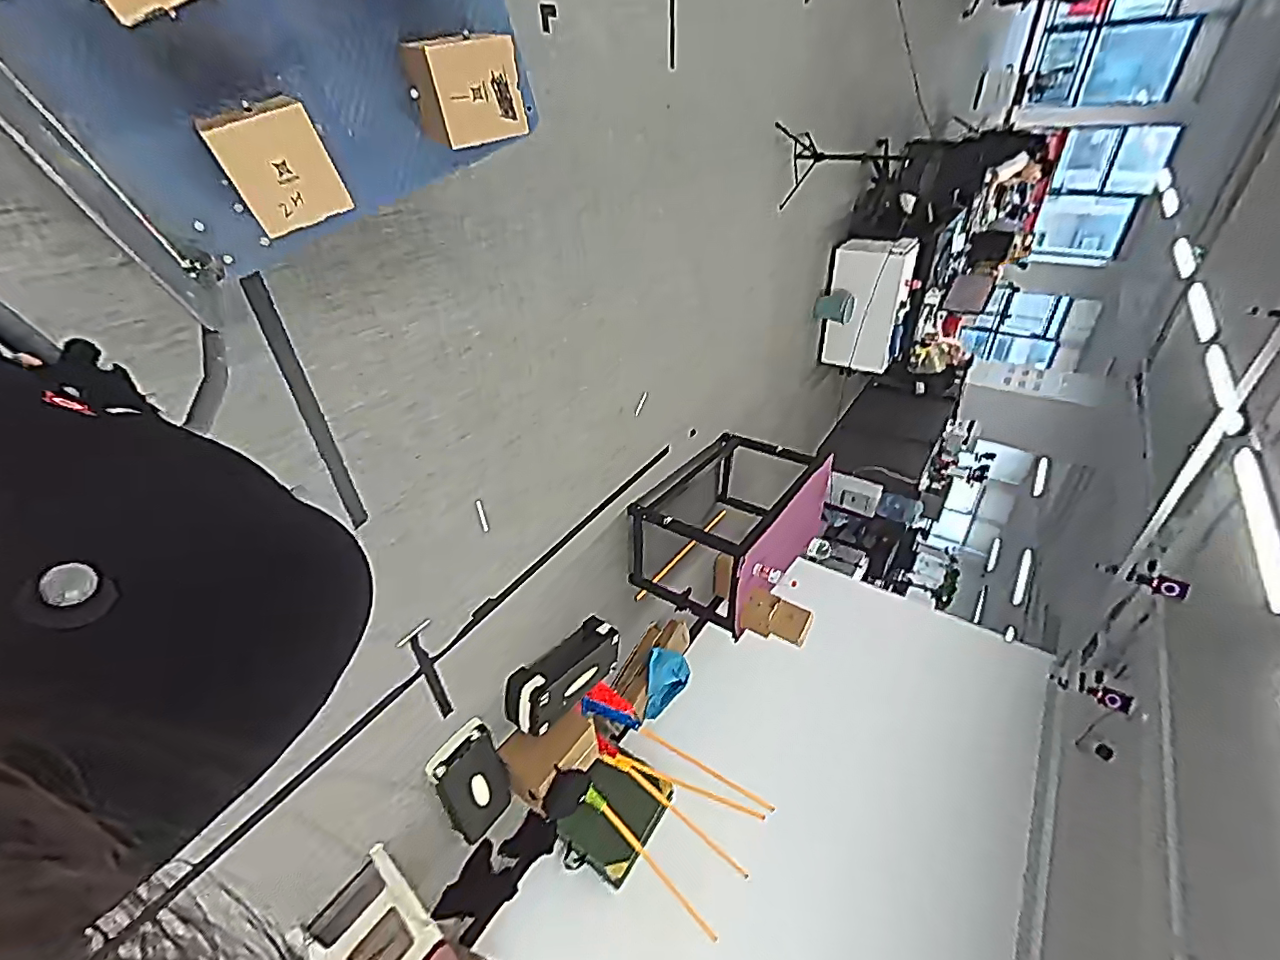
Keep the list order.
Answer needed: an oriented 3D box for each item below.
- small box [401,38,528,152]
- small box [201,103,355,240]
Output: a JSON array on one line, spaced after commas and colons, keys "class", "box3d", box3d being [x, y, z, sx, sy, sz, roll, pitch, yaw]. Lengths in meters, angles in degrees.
[{"class": "small box", "box3d": [-0.359, -0.797, 1.113, 0.179, 0.176, 0.168, -28, 137, -22]}, {"class": "small box", "box3d": [-0.671, -0.578, 1.004, 0.168, 0.176, 0.179, -33, 139, -18]}]
